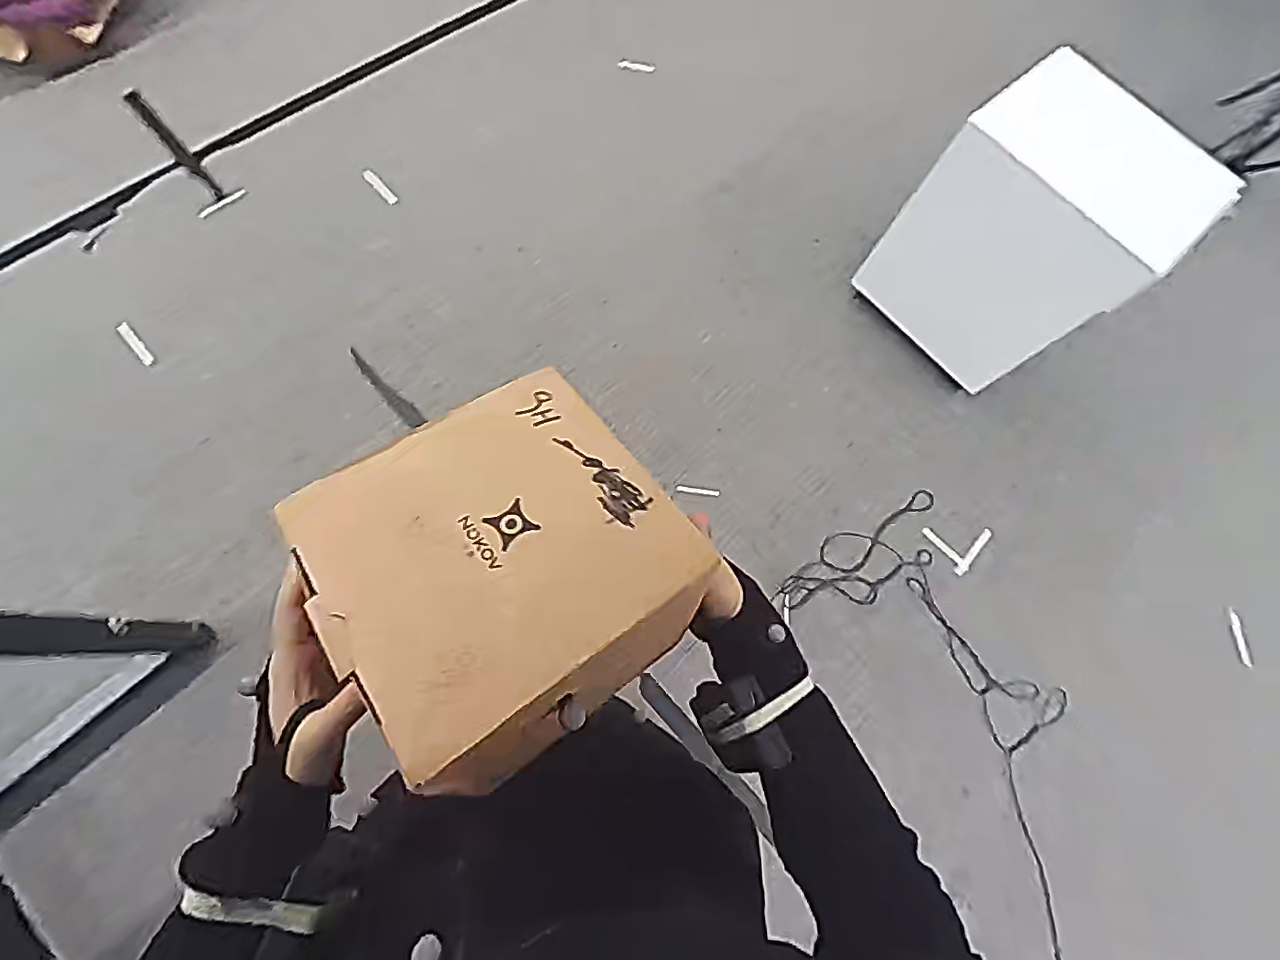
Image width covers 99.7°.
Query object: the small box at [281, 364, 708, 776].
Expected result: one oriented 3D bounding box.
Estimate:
[{"bbox_3d":[-0.079,0.065,0.354,0.179,0.176,0.168,-33,65,-21],"label":"small box"}]
